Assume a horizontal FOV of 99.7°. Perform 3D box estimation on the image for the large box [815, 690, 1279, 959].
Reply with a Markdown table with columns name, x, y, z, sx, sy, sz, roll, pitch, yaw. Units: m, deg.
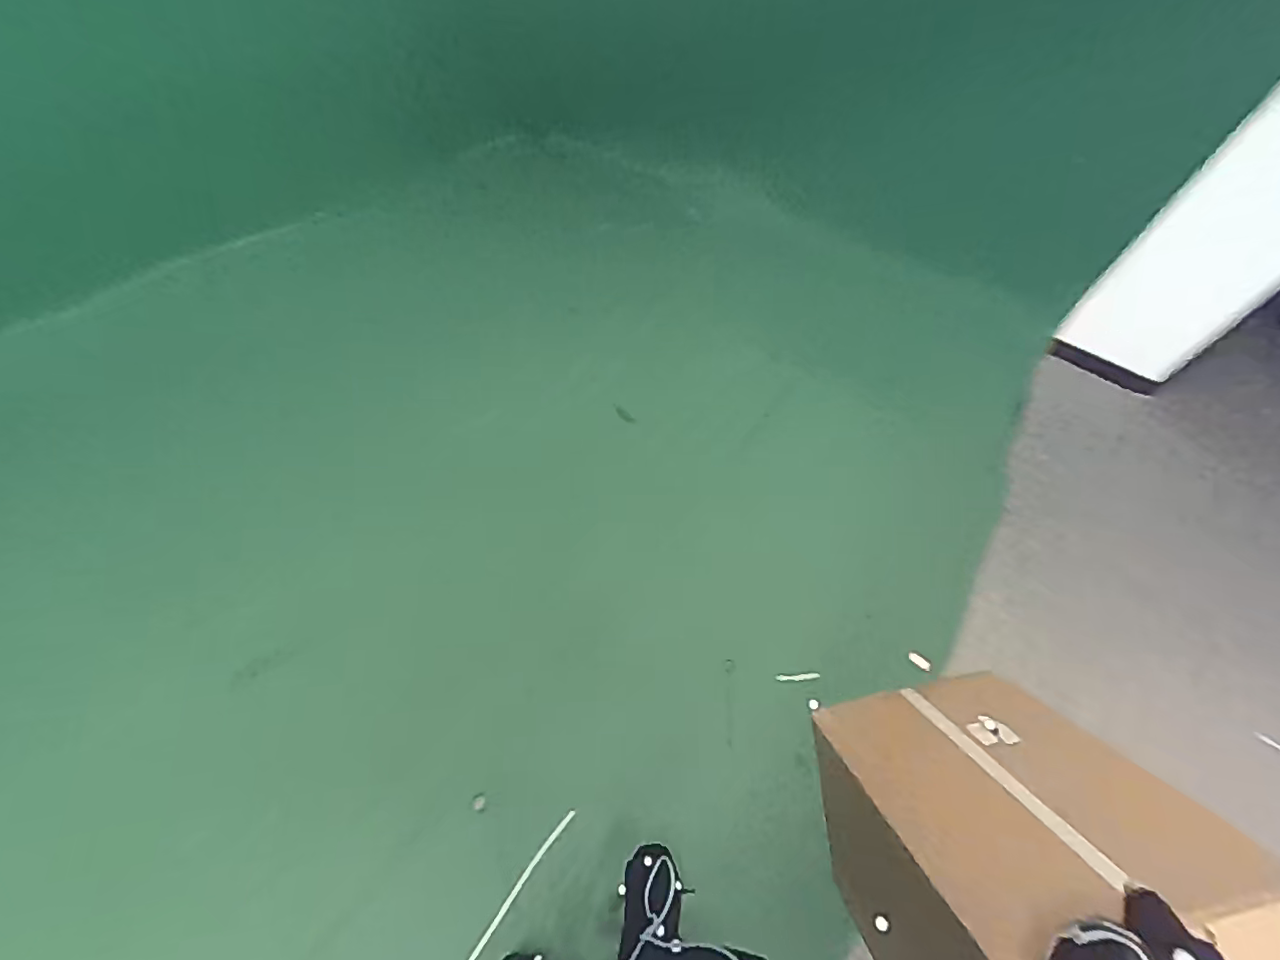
| name | x | y | z | sx | sy | sz | roll | pitch | yaw |
| --- | --- | --- | --- | --- | --- | --- | --- | --- | --- |
| large box | 0.472 | 0.537 | 0.688 | 0.320 | 0.408 | 0.320 | -10 | 97 | -4 |
